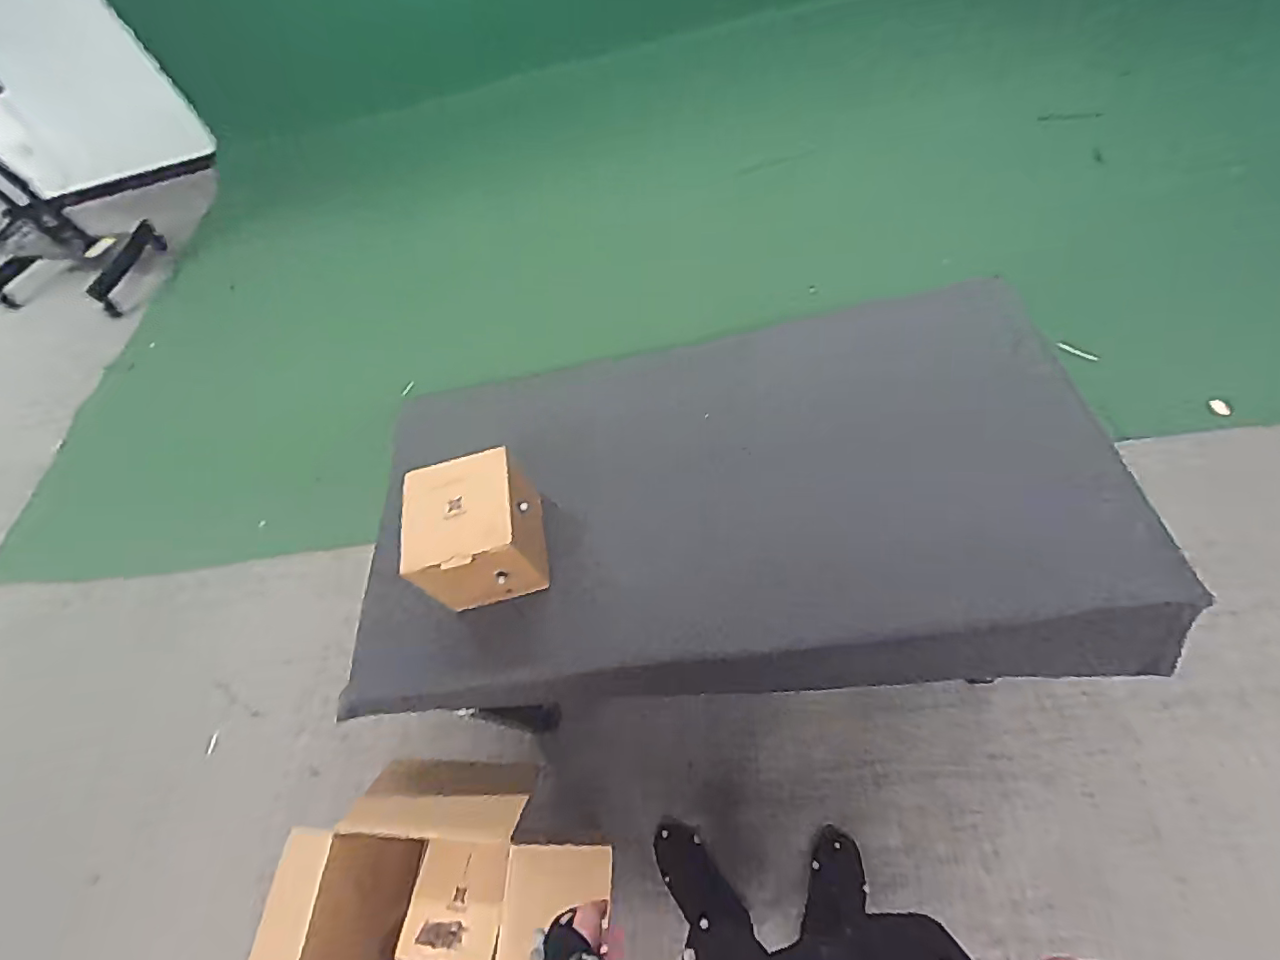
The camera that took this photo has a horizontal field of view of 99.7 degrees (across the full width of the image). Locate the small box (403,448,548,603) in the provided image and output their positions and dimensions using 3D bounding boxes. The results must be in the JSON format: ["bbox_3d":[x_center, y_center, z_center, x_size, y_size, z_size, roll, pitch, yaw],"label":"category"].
[{"bbox_3d":[-0.253,0.082,0.860,0.168,0.176,0.179,-15,56,2],"label":"small box"}]
